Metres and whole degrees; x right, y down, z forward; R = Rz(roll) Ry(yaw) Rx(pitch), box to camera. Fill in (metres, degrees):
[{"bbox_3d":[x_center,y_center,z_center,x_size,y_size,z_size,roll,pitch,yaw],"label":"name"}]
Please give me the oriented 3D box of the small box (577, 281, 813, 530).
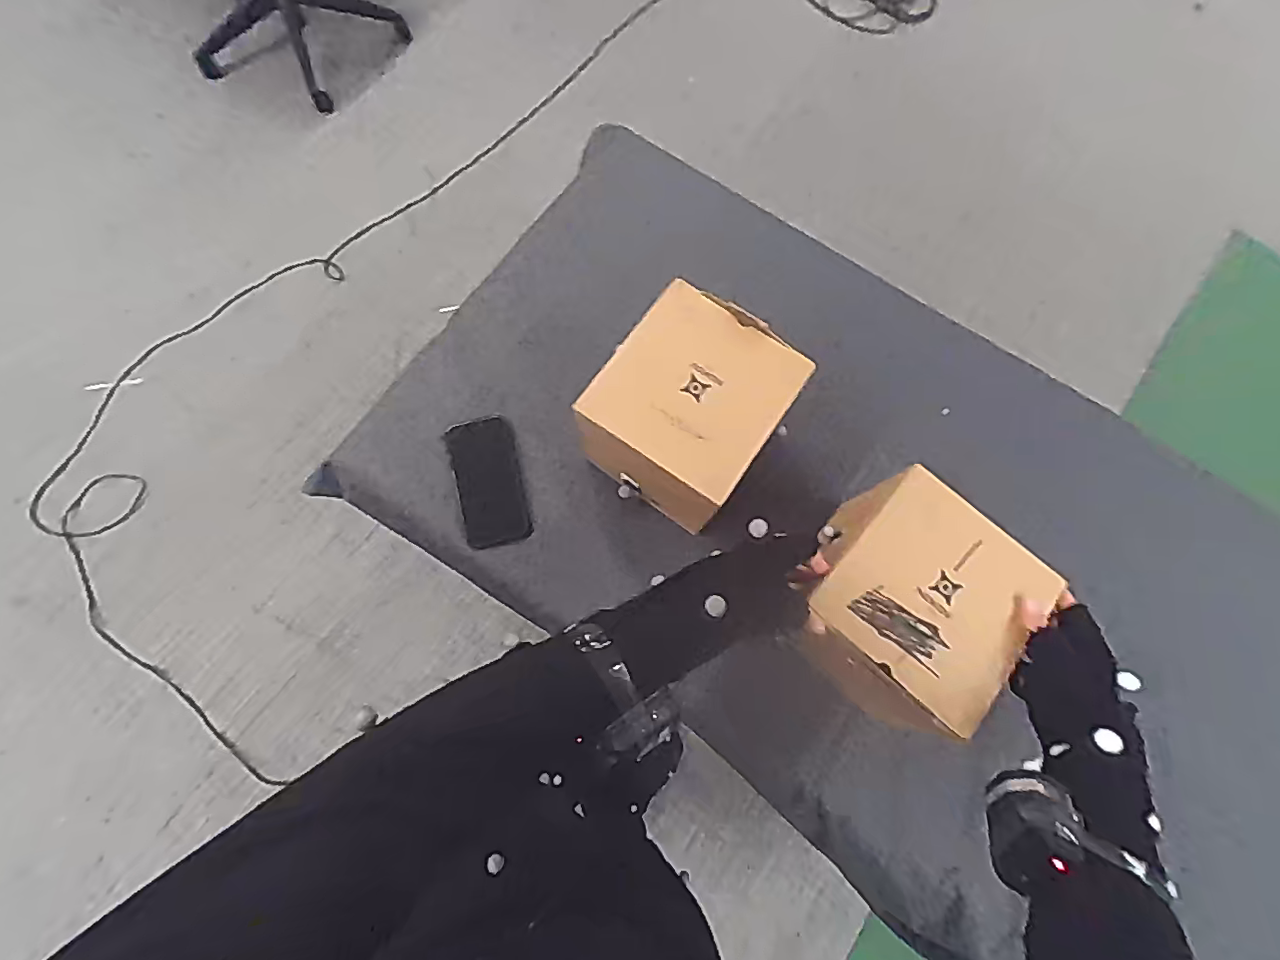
[{"bbox_3d":[0.051,-0.068,0.587,0.168,0.176,0.179,34,77,8],"label":"small box"}]
